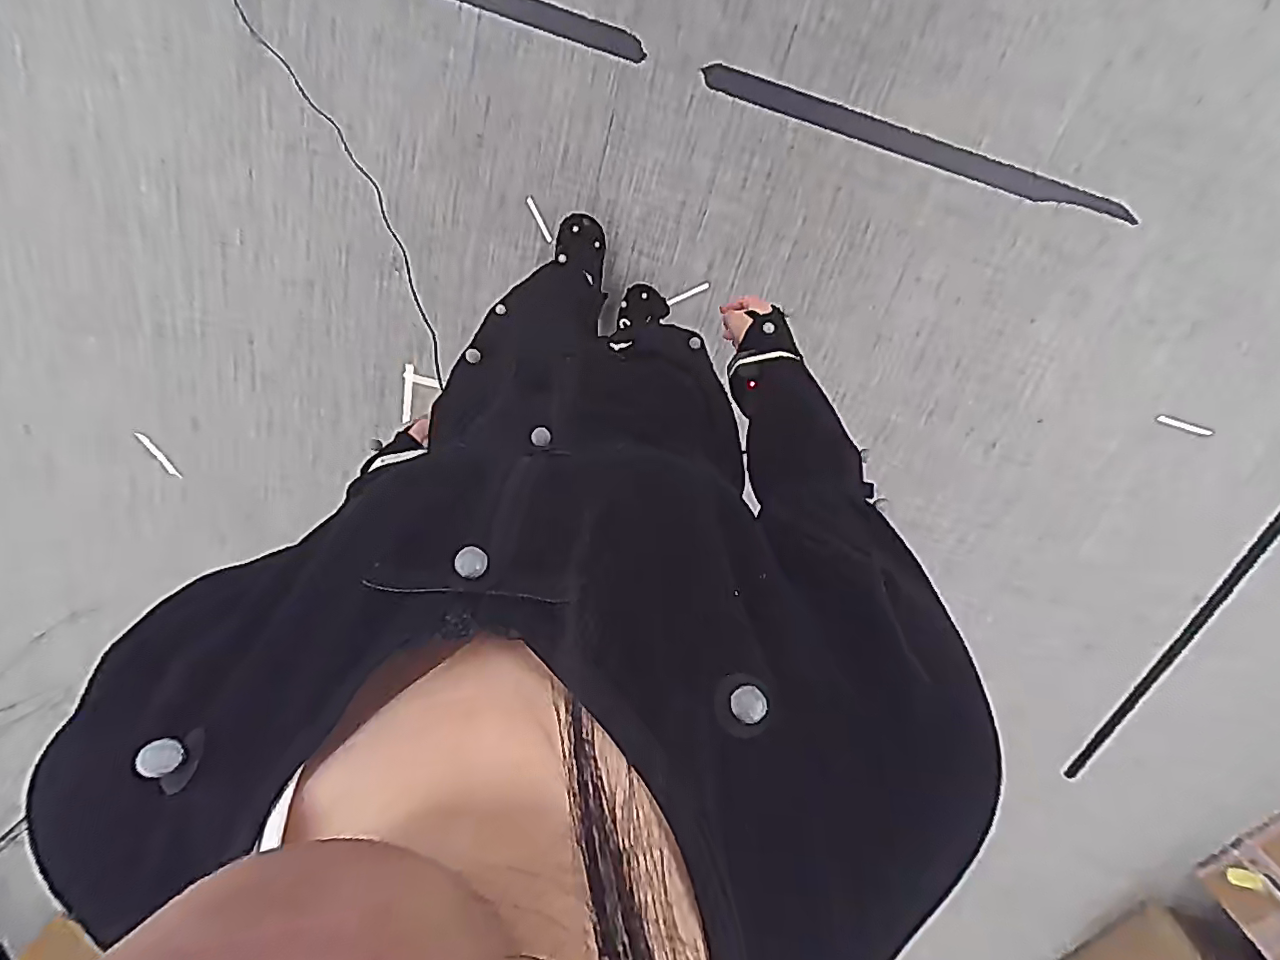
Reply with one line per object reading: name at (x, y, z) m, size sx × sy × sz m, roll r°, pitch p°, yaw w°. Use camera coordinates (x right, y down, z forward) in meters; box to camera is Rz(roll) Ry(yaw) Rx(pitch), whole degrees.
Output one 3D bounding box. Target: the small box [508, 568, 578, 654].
small box at (-0.286, 0.387, 1.620) m, size 0.168 × 0.176 × 0.179 m, roll 12°, pitch 112°, yaw -2°
